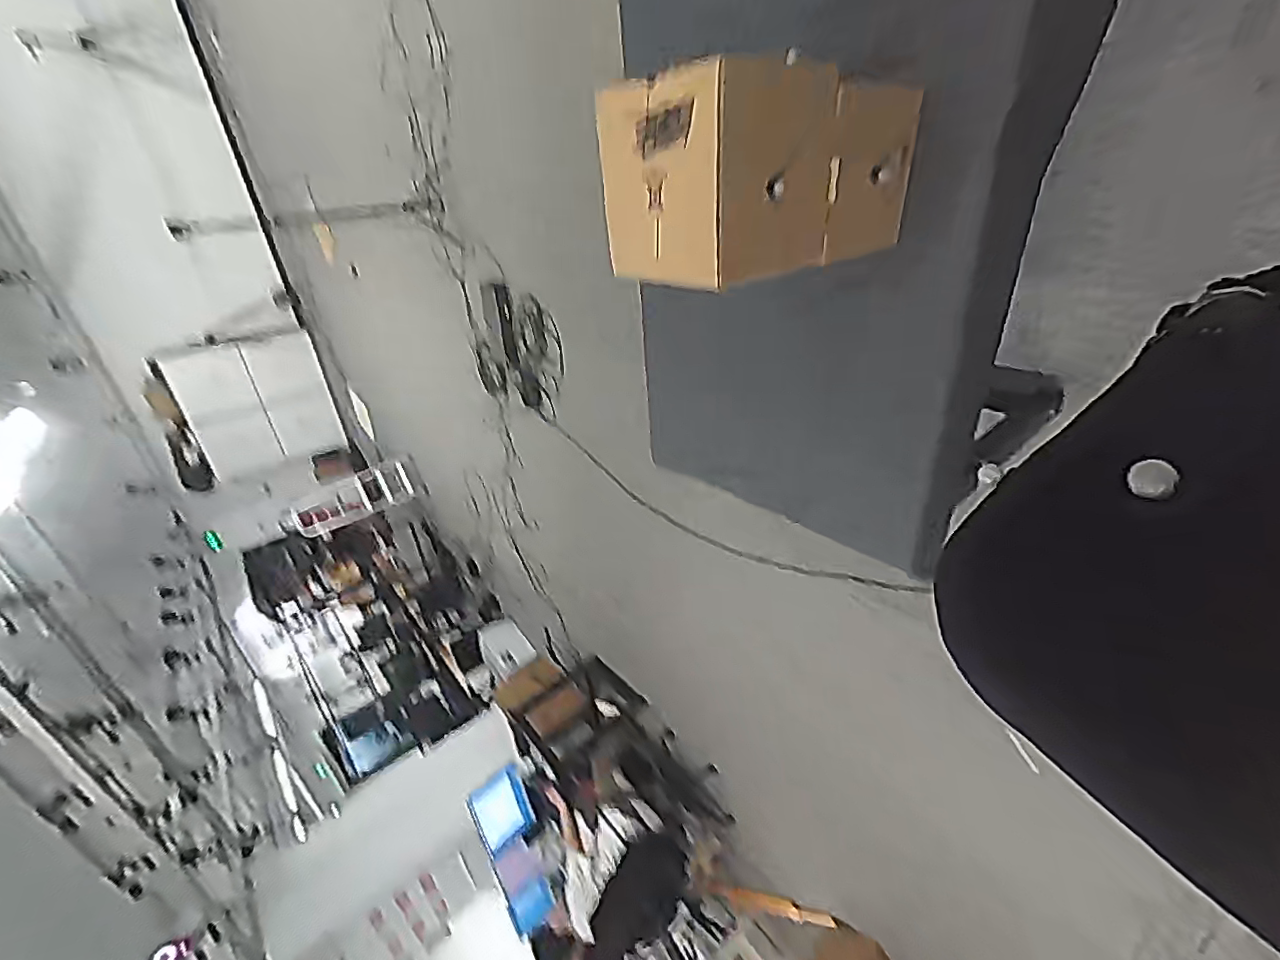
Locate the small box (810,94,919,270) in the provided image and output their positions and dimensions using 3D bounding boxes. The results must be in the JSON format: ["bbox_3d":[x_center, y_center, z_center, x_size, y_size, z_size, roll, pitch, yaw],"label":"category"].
[{"bbox_3d":[0.211,-0.365,0.664,0.179,0.176,0.168,28,133,43],"label":"small box"}]

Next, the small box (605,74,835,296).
[{"bbox_3d":[0.086,-0.308,0.573,0.168,0.176,0.179,28,135,44],"label":"small box"}]
